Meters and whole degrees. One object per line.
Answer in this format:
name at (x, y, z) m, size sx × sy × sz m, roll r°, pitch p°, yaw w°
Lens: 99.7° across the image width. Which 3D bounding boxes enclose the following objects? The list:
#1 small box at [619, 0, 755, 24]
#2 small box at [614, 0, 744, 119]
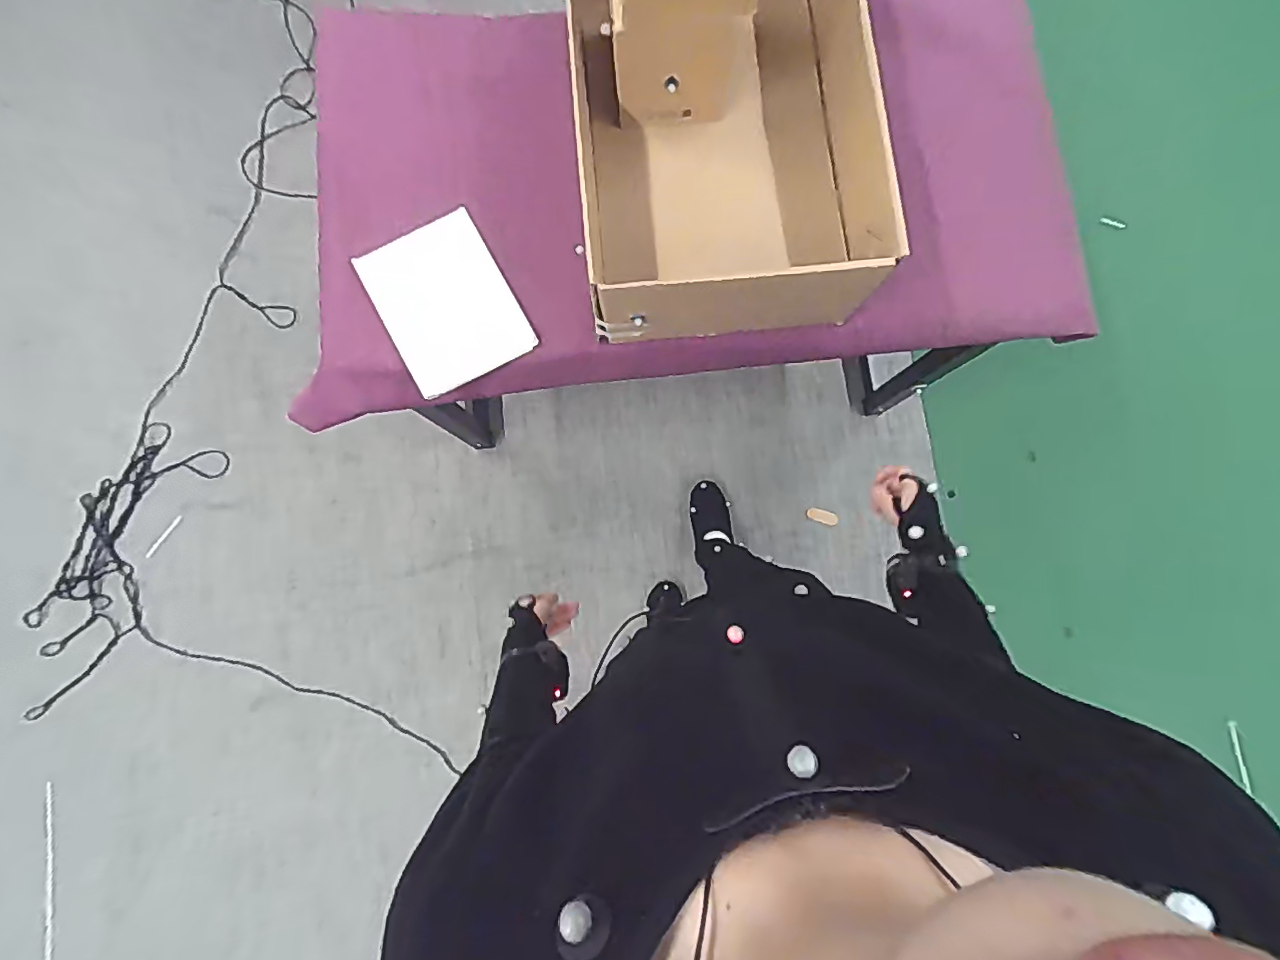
small box at (0.052, -0.666, 0.611) m, size 0.179 × 0.176 × 0.168 m, roll -7°, pitch 84°, yaw -1°
small box at (0.048, -0.650, 0.772) m, size 0.168 × 0.176 × 0.179 m, roll -5°, pitch 84°, yaw 0°
